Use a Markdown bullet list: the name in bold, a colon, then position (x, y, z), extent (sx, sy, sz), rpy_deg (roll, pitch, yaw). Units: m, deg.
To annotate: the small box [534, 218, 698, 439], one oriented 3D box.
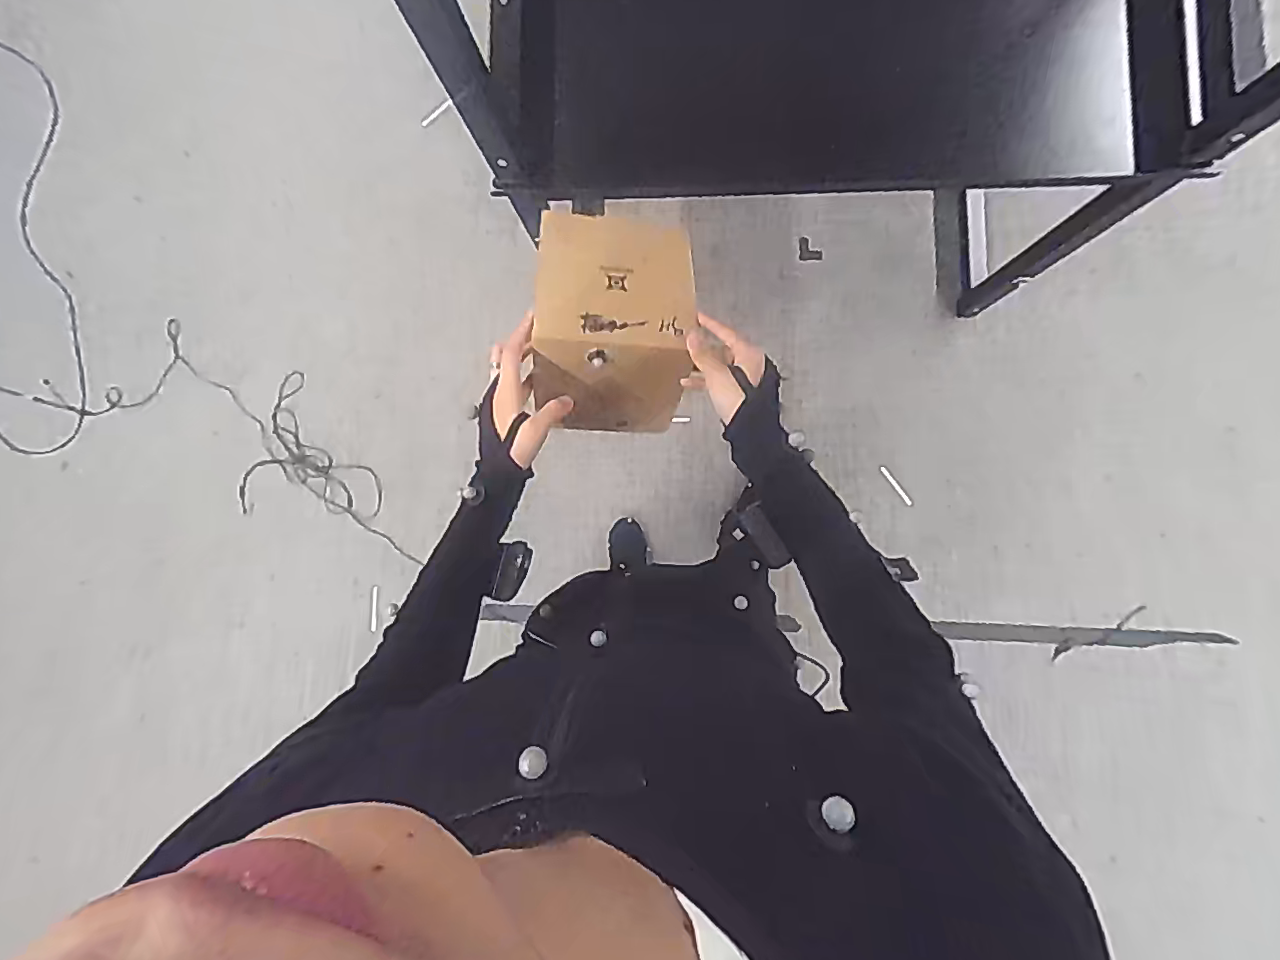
- **small box**: position (-0.035, -0.170, 0.638), extent (0.168, 0.176, 0.179), rpy_deg (3, 63, -8)
